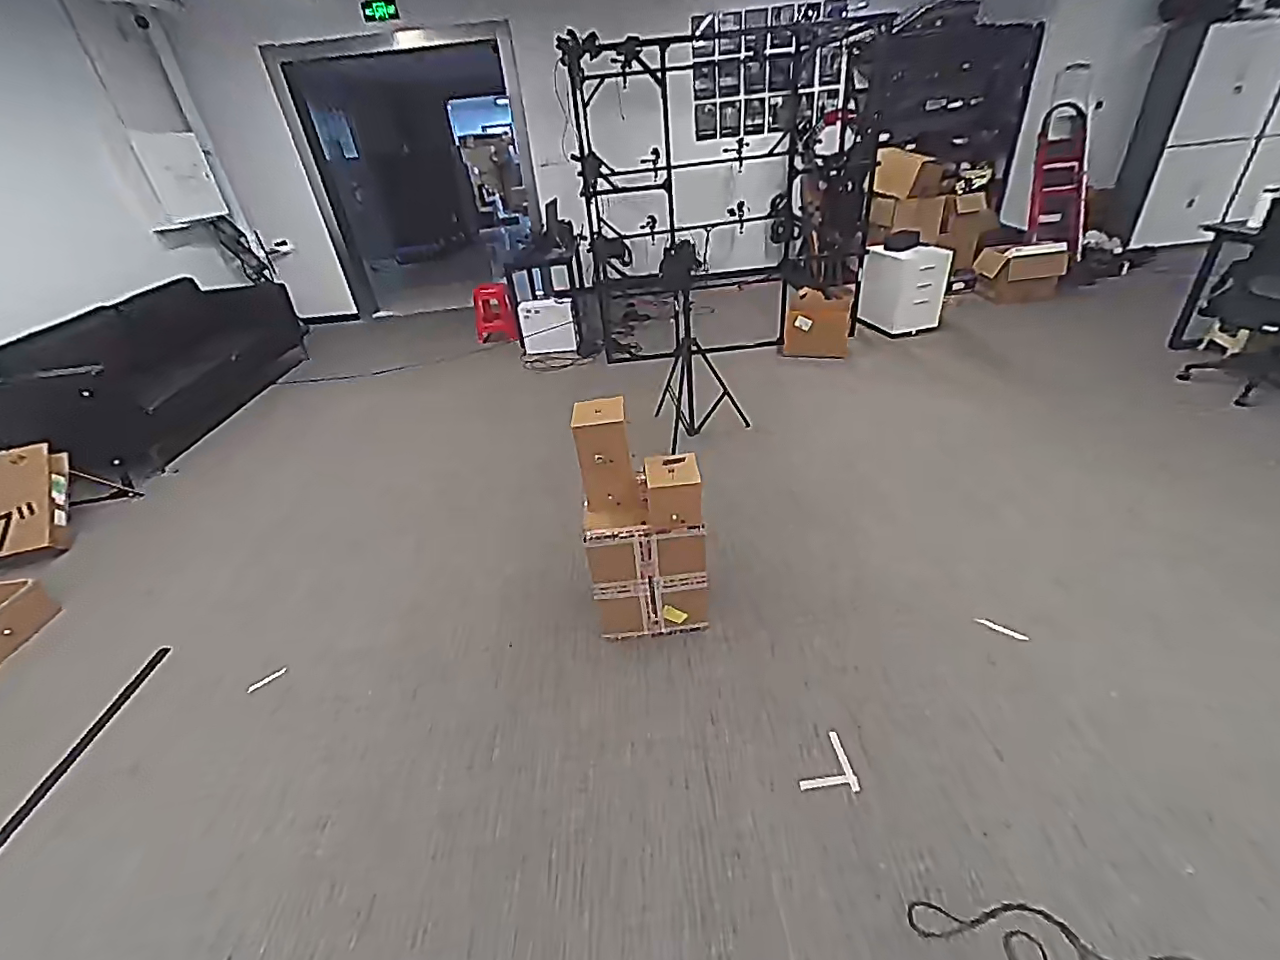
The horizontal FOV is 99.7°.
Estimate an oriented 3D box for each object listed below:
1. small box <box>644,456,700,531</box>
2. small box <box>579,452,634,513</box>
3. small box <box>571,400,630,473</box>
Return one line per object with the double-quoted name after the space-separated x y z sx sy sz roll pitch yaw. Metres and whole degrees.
0.100 0.043 1.747 0.168 0.176 0.179 -5 35 0 "small box"
-0.111 -0.009 1.858 0.168 0.176 0.179 -7 34 2 "small box"
-0.127 -0.143 1.766 0.168 0.176 0.179 -8 34 2 "small box"
